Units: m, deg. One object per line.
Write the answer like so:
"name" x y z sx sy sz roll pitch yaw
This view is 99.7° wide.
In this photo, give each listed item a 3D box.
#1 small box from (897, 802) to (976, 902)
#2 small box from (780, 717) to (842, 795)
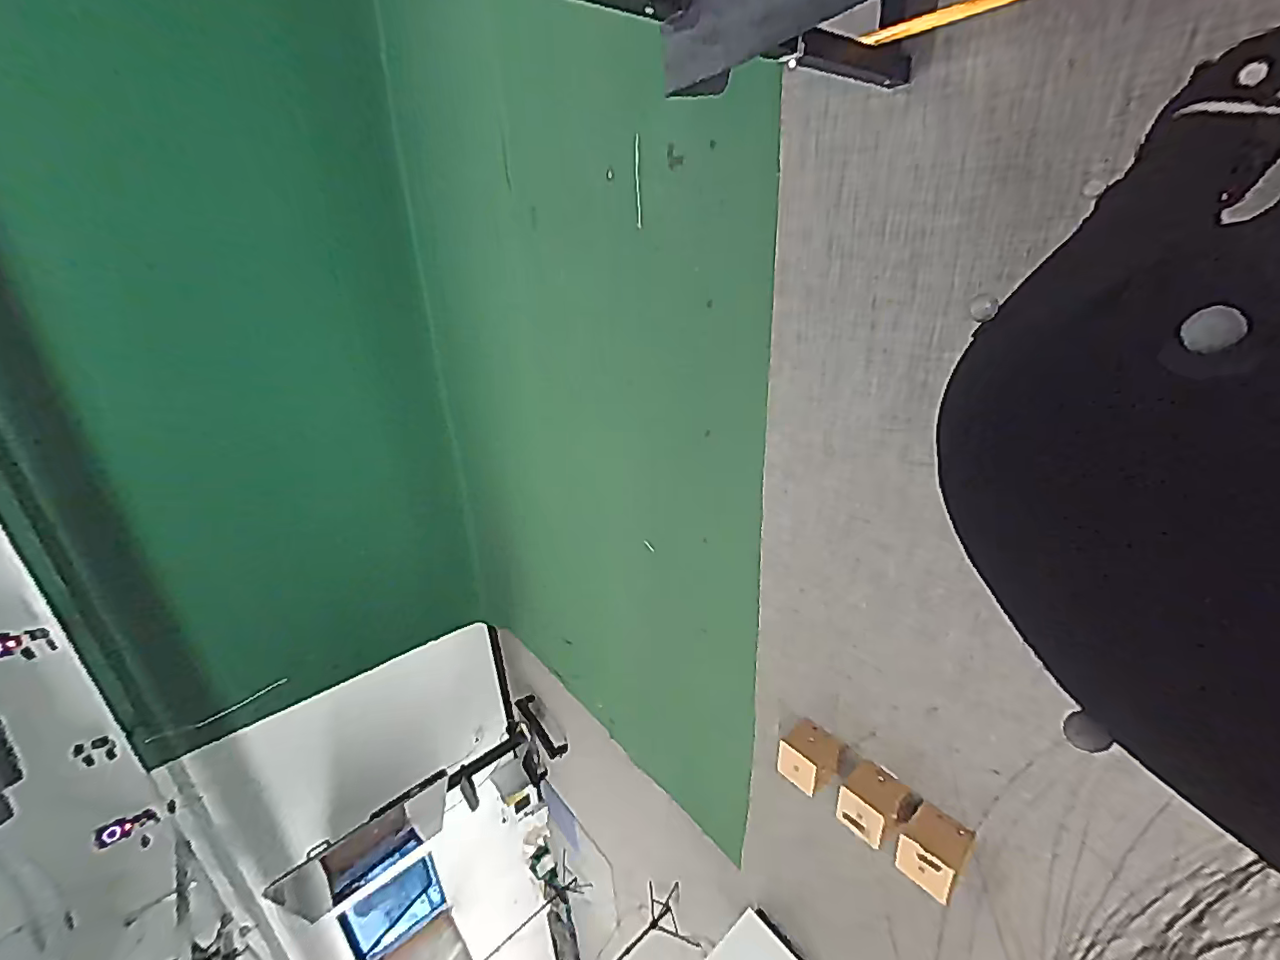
"small box" 0.978 1.215 1.780 0.168 0.176 0.179 23 125 46
"small box" 0.675 1.079 2.129 0.168 0.176 0.179 25 126 47
